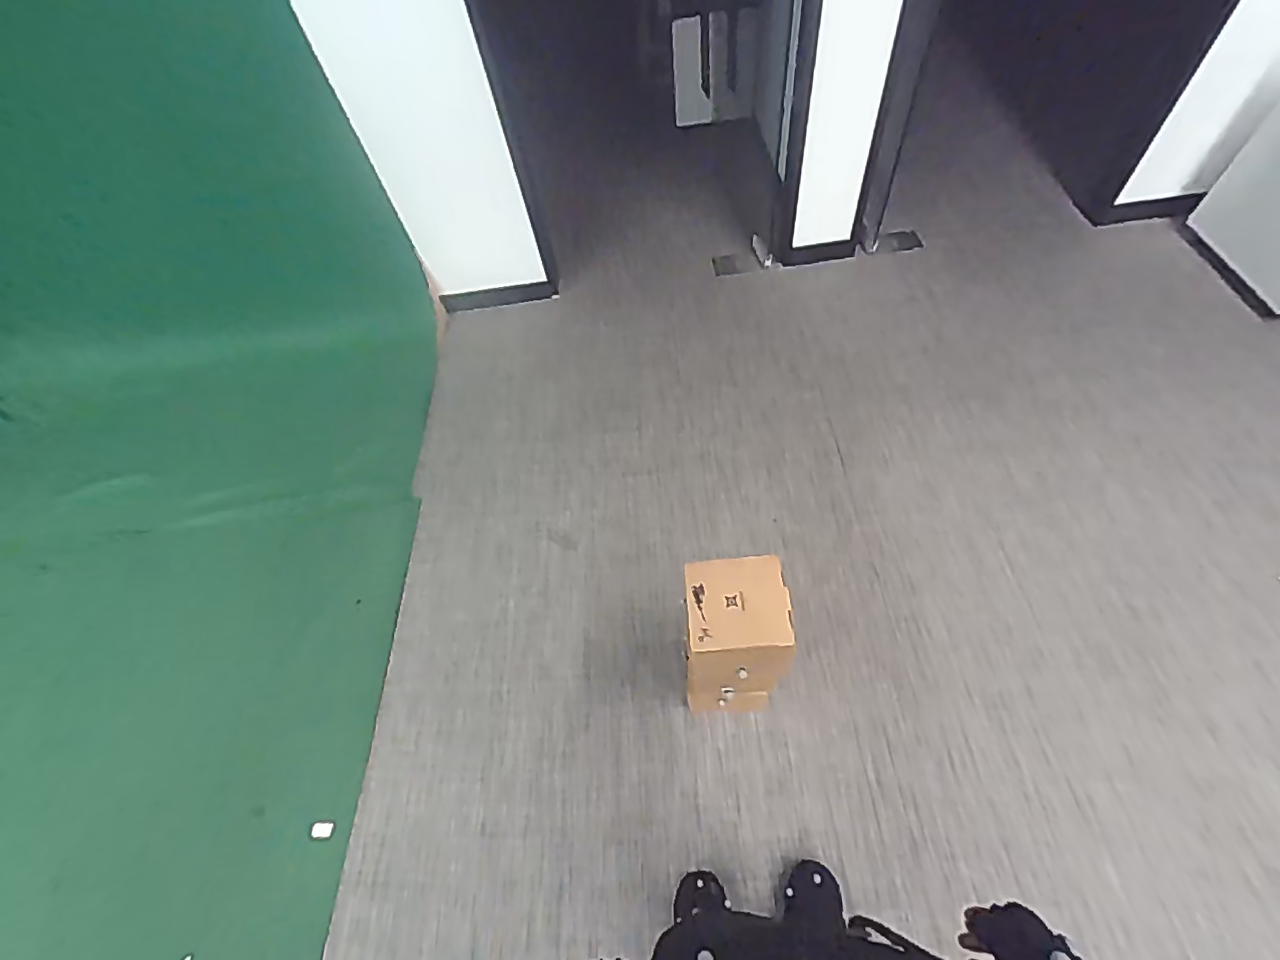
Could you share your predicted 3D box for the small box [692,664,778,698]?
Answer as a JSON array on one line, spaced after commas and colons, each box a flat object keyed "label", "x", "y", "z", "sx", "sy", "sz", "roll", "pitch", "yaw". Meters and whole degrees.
[{"label": "small box", "x": 0.193, "y": 0.353, "z": 1.154, "sx": 0.168, "sy": 0.176, "sz": 0.179, "roll": -6, "pitch": 56, "yaw": 6}]

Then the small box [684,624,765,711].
[{"label": "small box", "x": 0.200, "y": 0.447, "z": 1.285, "sx": 0.179, "sy": 0.176, "sz": 0.168, "roll": -3, "pitch": 56, "yaw": 5}]

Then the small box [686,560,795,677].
[{"label": "small box", "x": 0.181, "y": 0.264, "z": 1.016, "sx": 0.179, "sy": 0.176, "sz": 0.168, "roll": -5, "pitch": 55, "yaw": 6}]
